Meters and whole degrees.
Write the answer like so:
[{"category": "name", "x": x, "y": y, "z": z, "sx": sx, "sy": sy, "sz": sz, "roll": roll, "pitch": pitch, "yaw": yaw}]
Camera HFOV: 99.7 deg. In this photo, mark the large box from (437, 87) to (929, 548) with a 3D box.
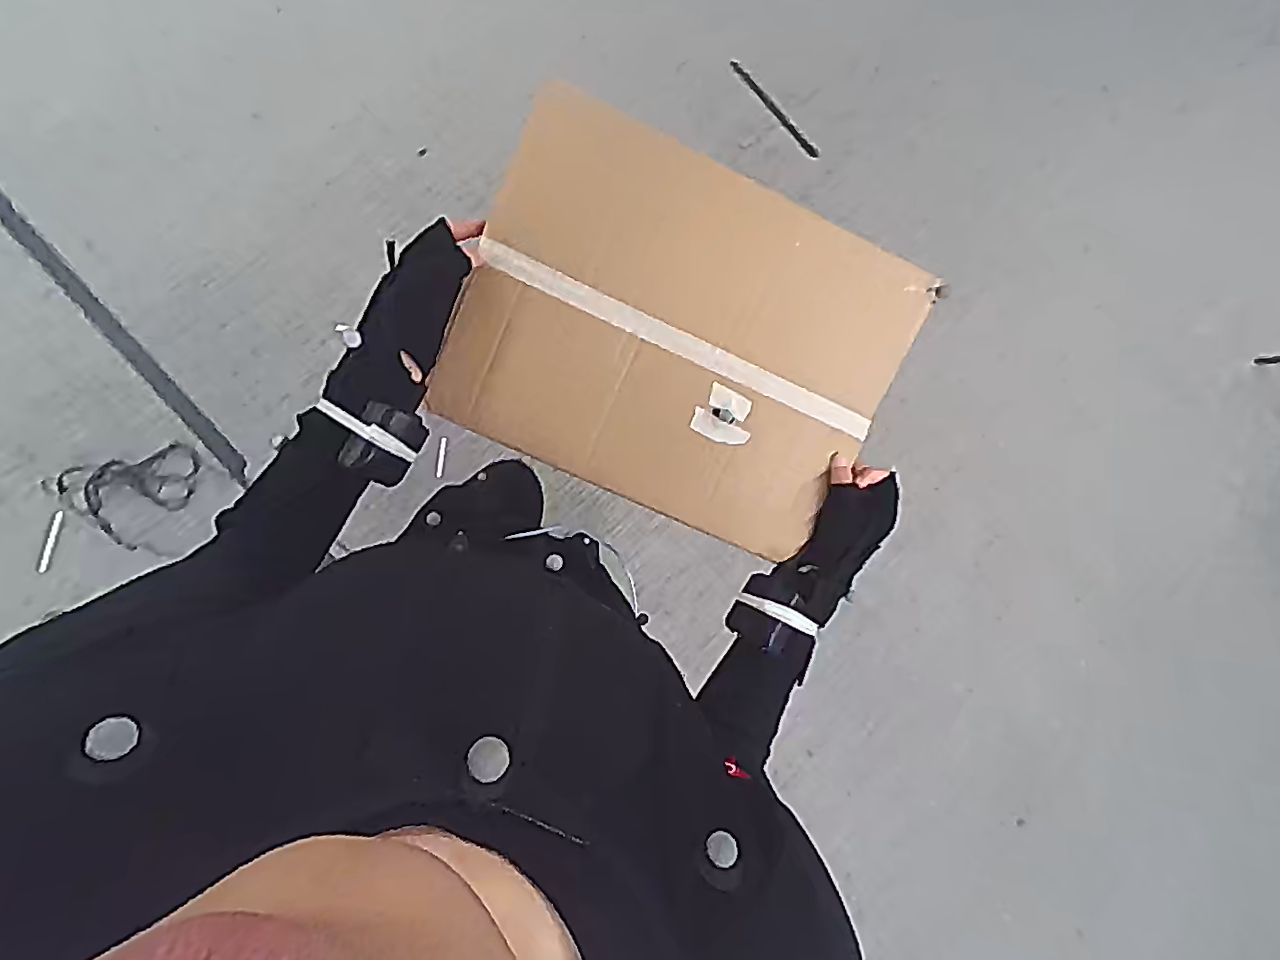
[{"category": "large box", "x": 0.033, "y": -0.164, "z": 0.668, "sx": 0.408, "sy": 0.320, "sz": 0.320, "roll": 24, "pitch": 98, "yaw": -7}]
